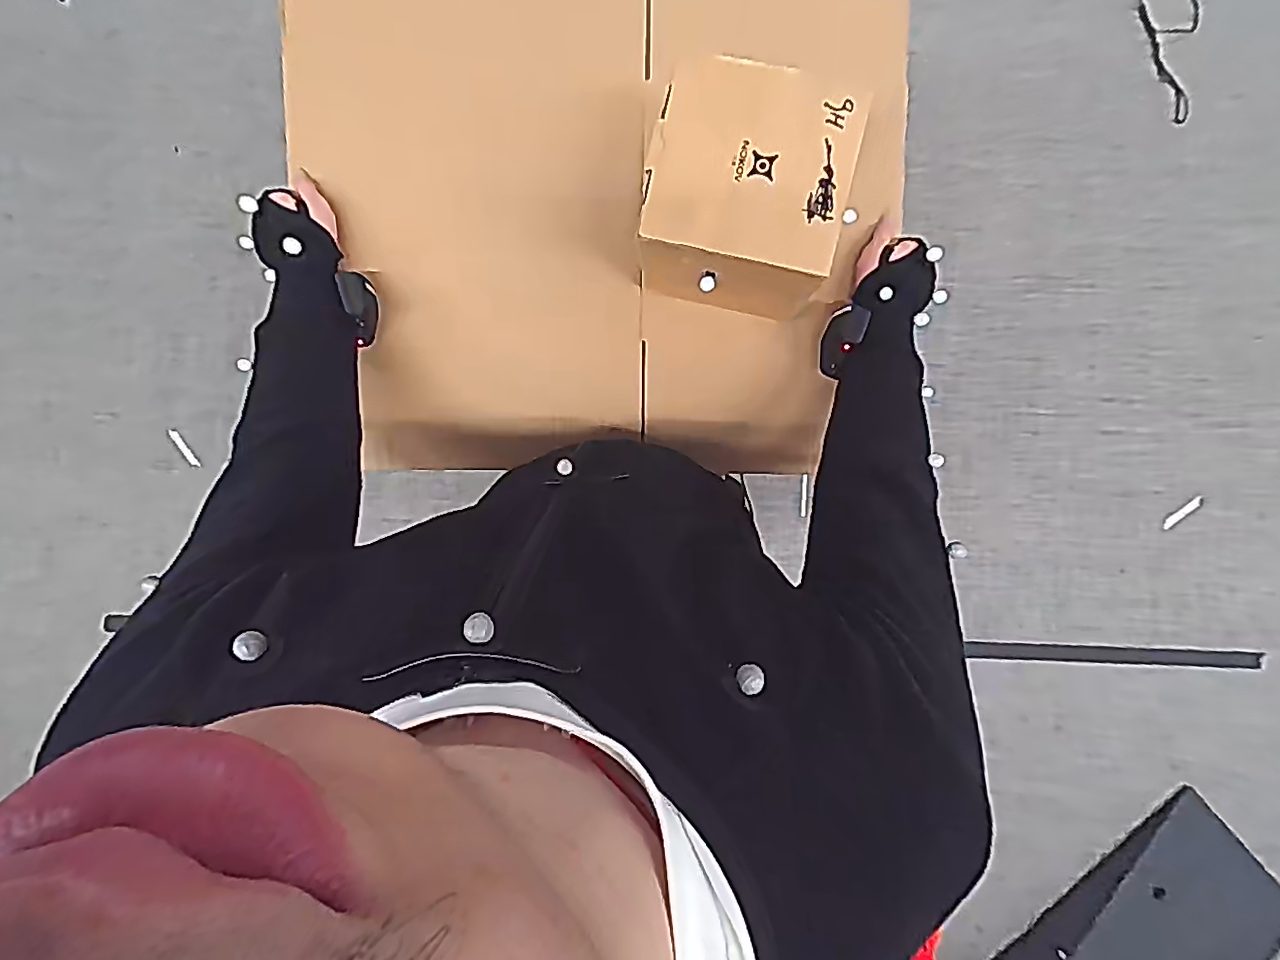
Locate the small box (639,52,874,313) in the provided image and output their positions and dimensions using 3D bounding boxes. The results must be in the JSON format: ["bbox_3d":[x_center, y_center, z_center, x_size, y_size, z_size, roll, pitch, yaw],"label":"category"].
[{"bbox_3d":[0.107,-0.285,0.557,0.179,0.176,0.168,13,94,4],"label":"small box"}]
